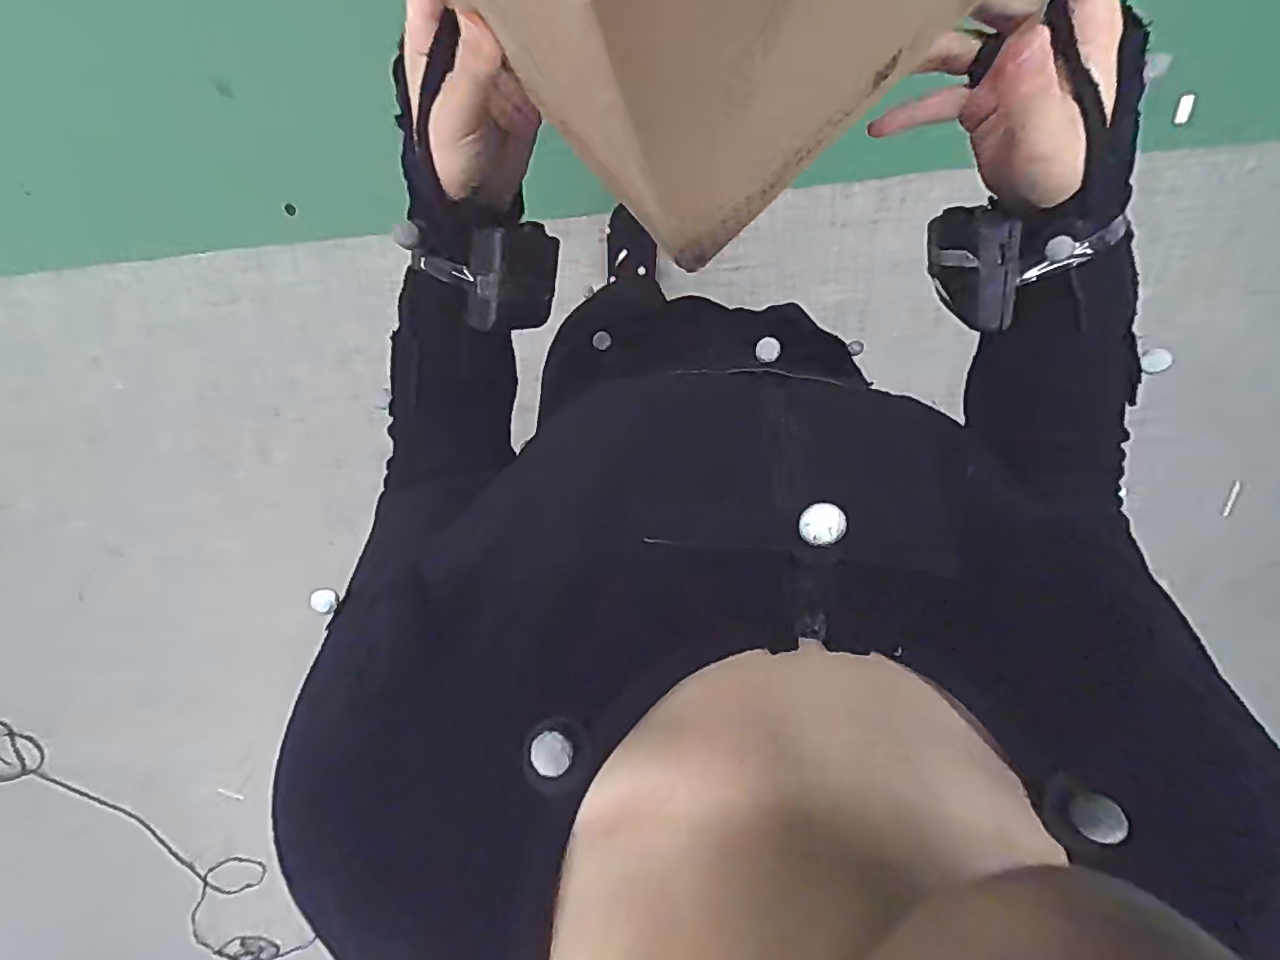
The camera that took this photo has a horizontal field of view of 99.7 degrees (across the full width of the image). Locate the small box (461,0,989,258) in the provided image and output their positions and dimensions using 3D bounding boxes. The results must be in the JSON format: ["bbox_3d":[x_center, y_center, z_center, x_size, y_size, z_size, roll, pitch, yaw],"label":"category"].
[{"bbox_3d":[0.018,-0.207,0.170,0.168,0.176,0.179,-42,85,12],"label":"small box"}]
